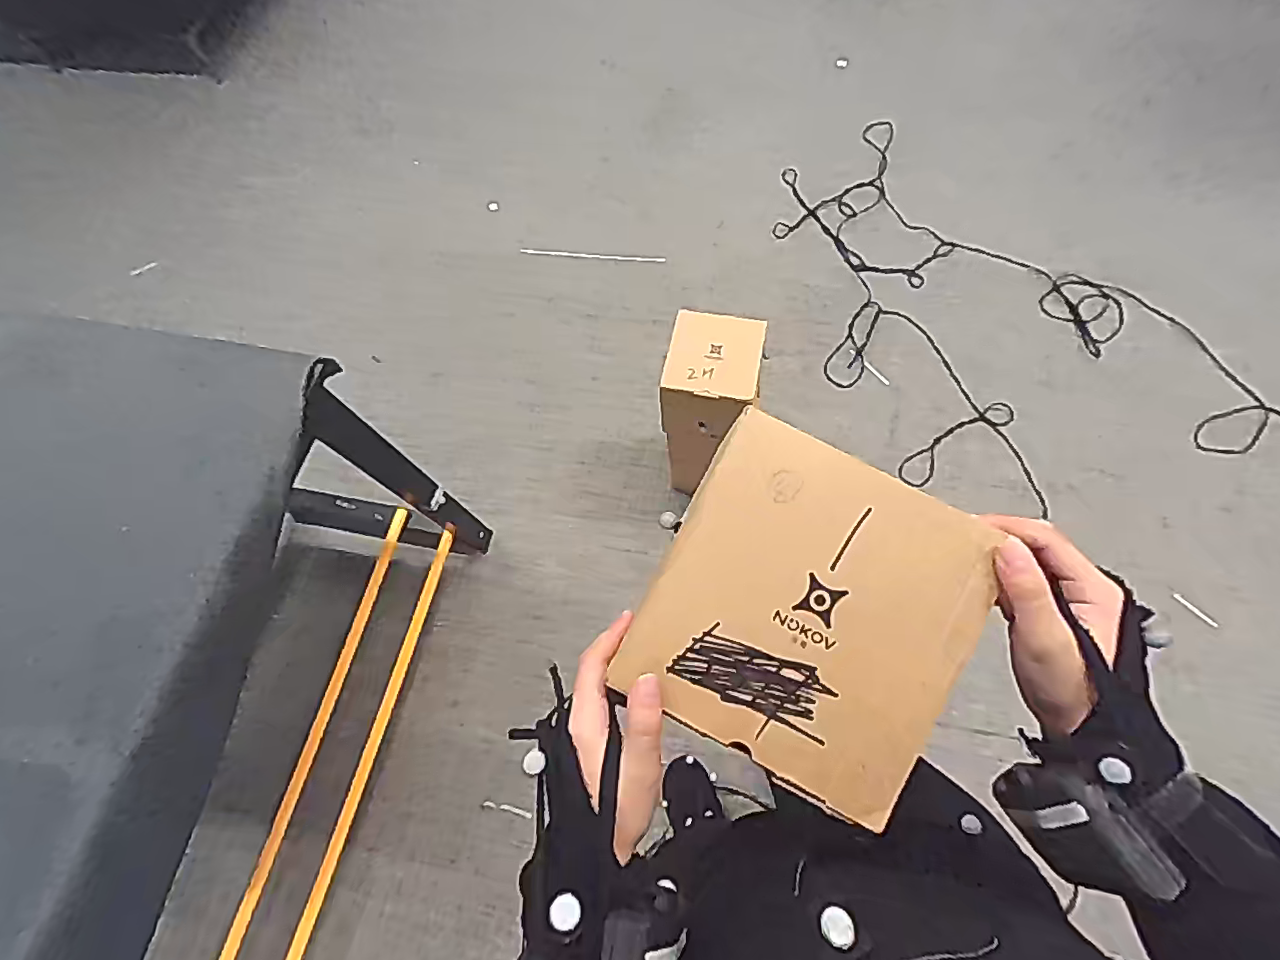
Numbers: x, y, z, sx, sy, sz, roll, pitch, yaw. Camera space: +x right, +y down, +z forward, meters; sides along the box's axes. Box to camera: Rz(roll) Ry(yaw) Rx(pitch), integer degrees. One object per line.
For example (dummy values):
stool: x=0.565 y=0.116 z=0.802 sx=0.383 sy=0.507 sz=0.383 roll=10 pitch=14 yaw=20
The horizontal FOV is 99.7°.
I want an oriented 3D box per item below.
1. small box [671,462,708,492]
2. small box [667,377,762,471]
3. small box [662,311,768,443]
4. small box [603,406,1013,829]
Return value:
small box: x=0.179 y=-0.066 z=1.333 sx=0.179 sy=0.176 sz=0.168 roll=12 pitch=69 yaw=9
small box: x=0.162 y=-0.125 z=1.182 sx=0.179 sy=0.176 sz=0.168 roll=9 pitch=68 yaw=10
small box: x=0.140 y=-0.190 z=1.032 sx=0.168 sy=0.176 sz=0.179 roll=10 pitch=68 yaw=10
small box: x=0.095 y=0.078 z=0.373 sx=0.168 sy=0.176 sz=0.179 roll=28 pitch=87 yaw=5
